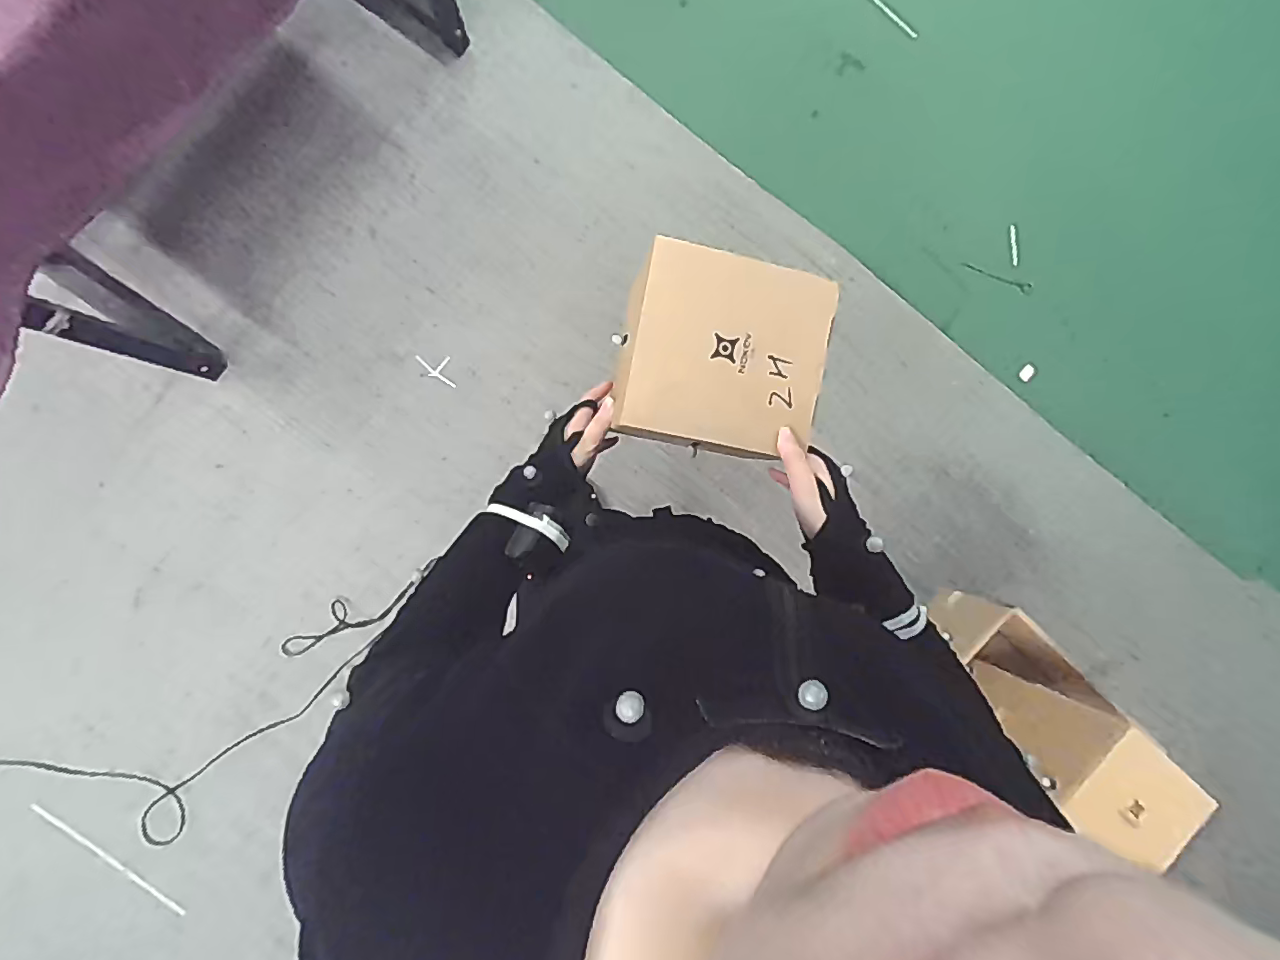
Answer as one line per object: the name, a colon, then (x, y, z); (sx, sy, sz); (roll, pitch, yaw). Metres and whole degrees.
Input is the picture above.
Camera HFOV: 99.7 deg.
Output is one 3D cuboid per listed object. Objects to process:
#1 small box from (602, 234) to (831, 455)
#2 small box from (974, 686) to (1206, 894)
small box: (0.062, -0.121, 0.555); (0.179, 0.176, 0.168); (10, 93, -10)
small box: (0.658, 0.447, 0.815); (0.168, 0.176, 0.179); (43, 88, -1)
